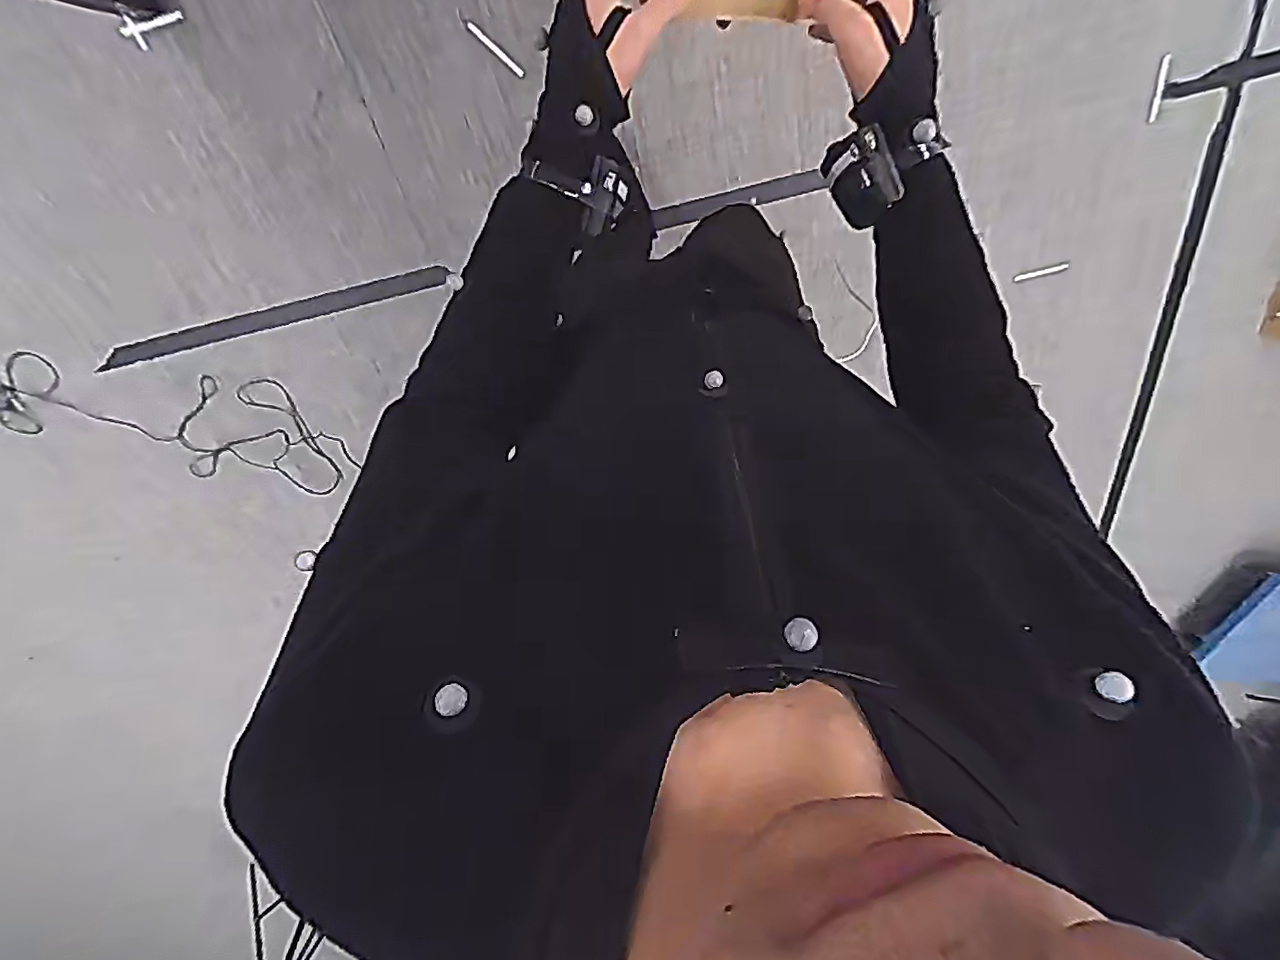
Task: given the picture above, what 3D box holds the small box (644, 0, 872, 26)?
[{"bbox_3d":[0.090,-0.470,0.411,0.179,0.176,0.168,-1,137,-6],"label":"small box"}]
